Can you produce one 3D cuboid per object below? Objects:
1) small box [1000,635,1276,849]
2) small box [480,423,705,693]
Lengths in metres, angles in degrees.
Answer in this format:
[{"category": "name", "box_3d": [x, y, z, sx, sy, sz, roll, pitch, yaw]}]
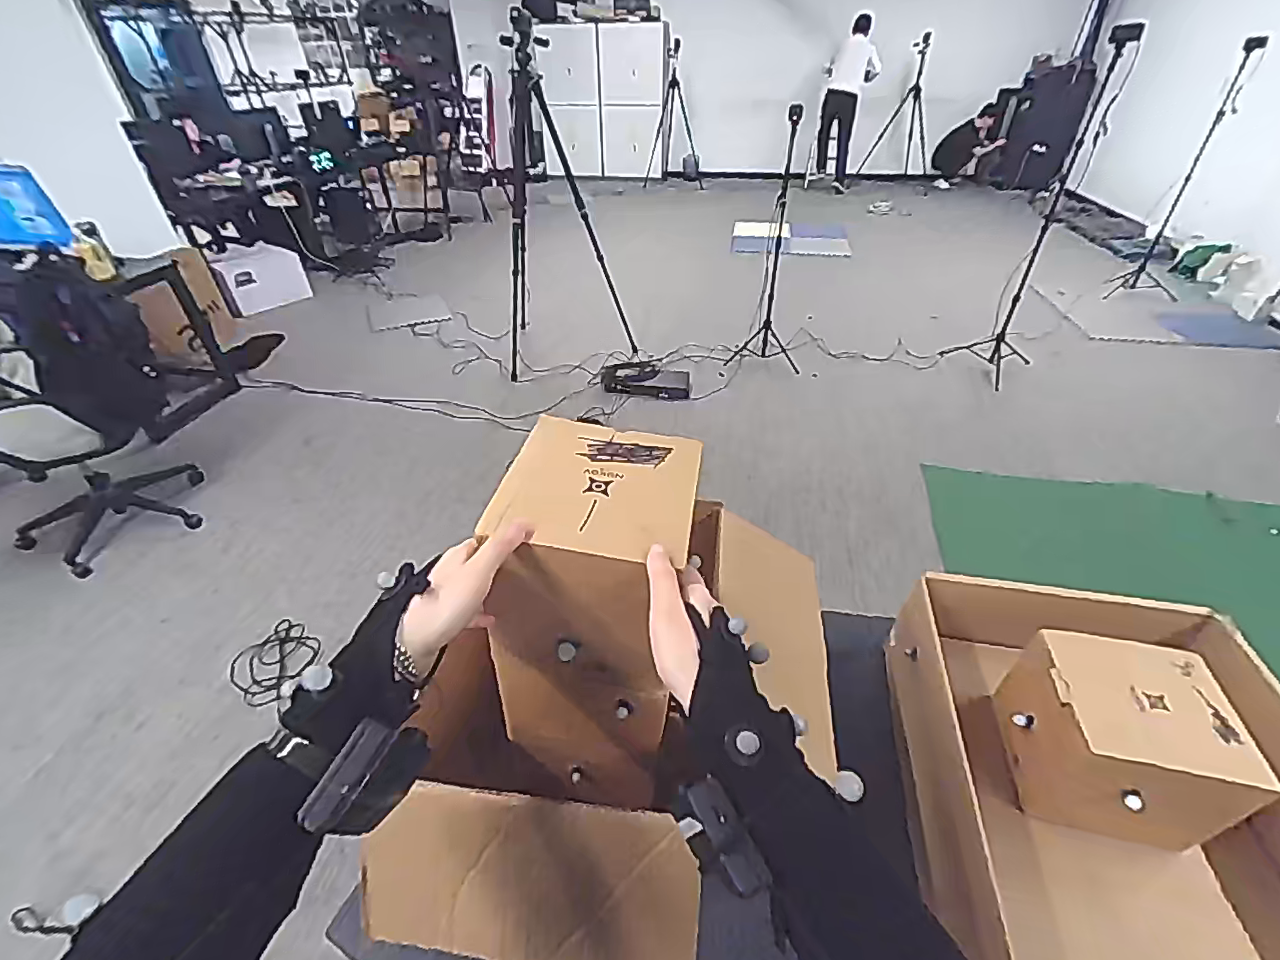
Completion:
[{"category": "small box", "box_3d": [0.574, 0.320, 0.664, 0.179, 0.176, 0.168, 7, 39, 12]}, {"category": "small box", "box_3d": [-0.037, 0.070, 0.520, 0.168, 0.176, 0.179, 9, 38, 5]}]
